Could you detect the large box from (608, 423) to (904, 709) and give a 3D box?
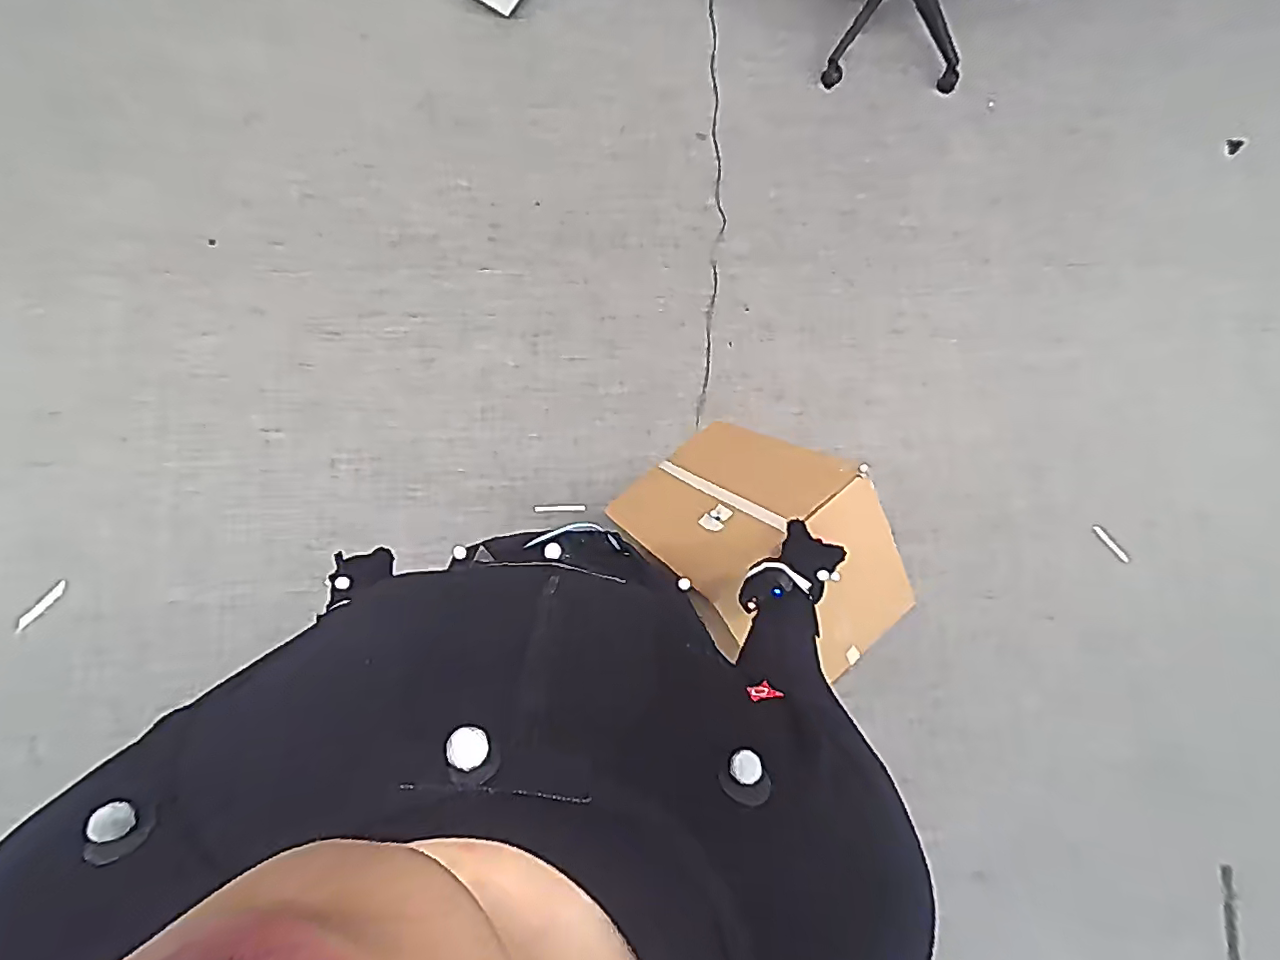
[{"bbox_3d":[0.204,0.134,1.028,0.320,0.408,0.320,-38,120,-11],"label":"large box"}]
